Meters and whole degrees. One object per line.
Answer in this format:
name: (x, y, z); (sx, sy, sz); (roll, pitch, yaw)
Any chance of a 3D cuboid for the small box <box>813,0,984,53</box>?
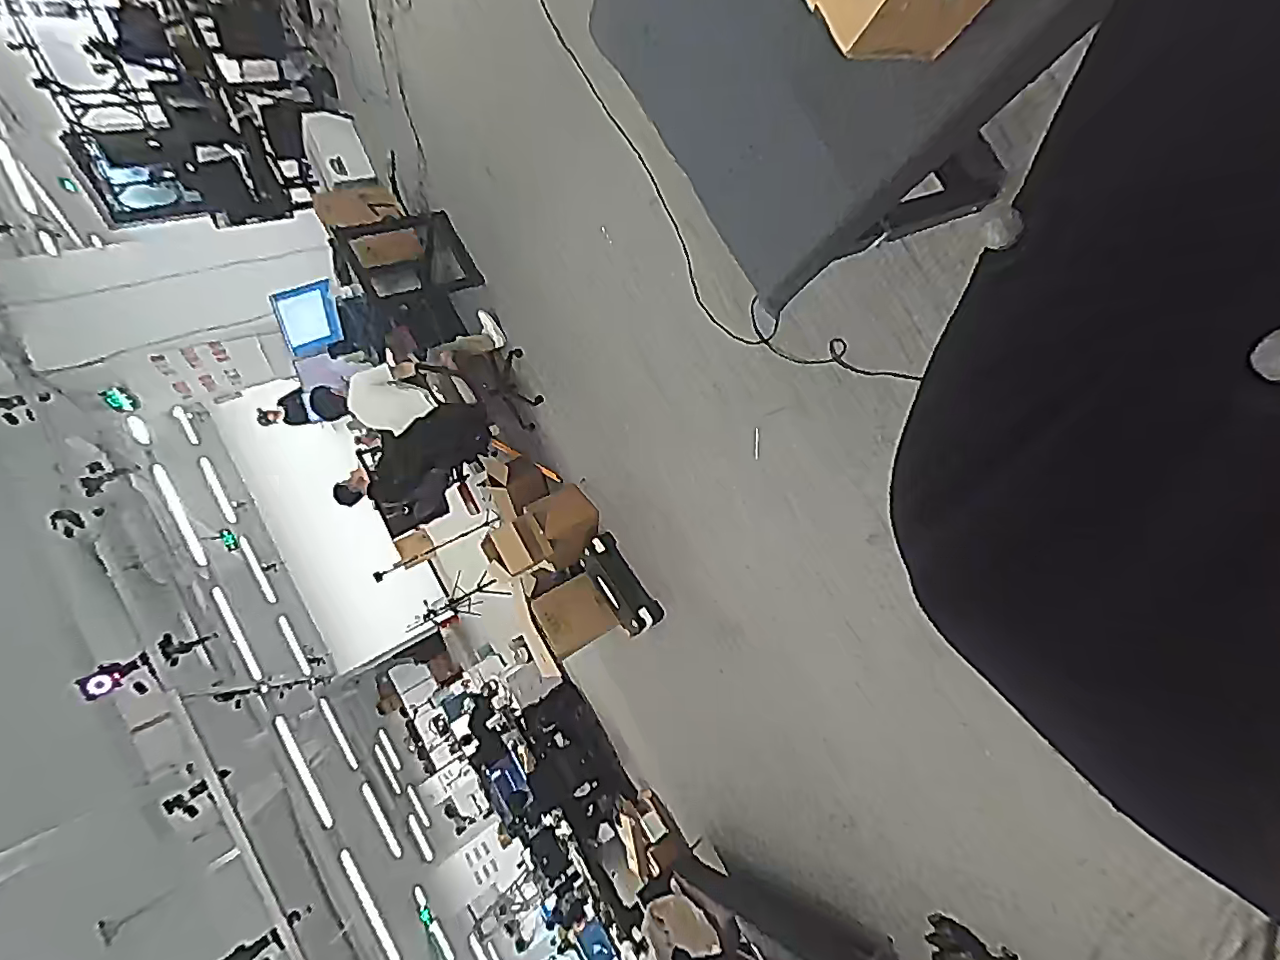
small box: (0.260, -0.532, 0.489); (0.168, 0.176, 0.179); (63, 151, 4)
